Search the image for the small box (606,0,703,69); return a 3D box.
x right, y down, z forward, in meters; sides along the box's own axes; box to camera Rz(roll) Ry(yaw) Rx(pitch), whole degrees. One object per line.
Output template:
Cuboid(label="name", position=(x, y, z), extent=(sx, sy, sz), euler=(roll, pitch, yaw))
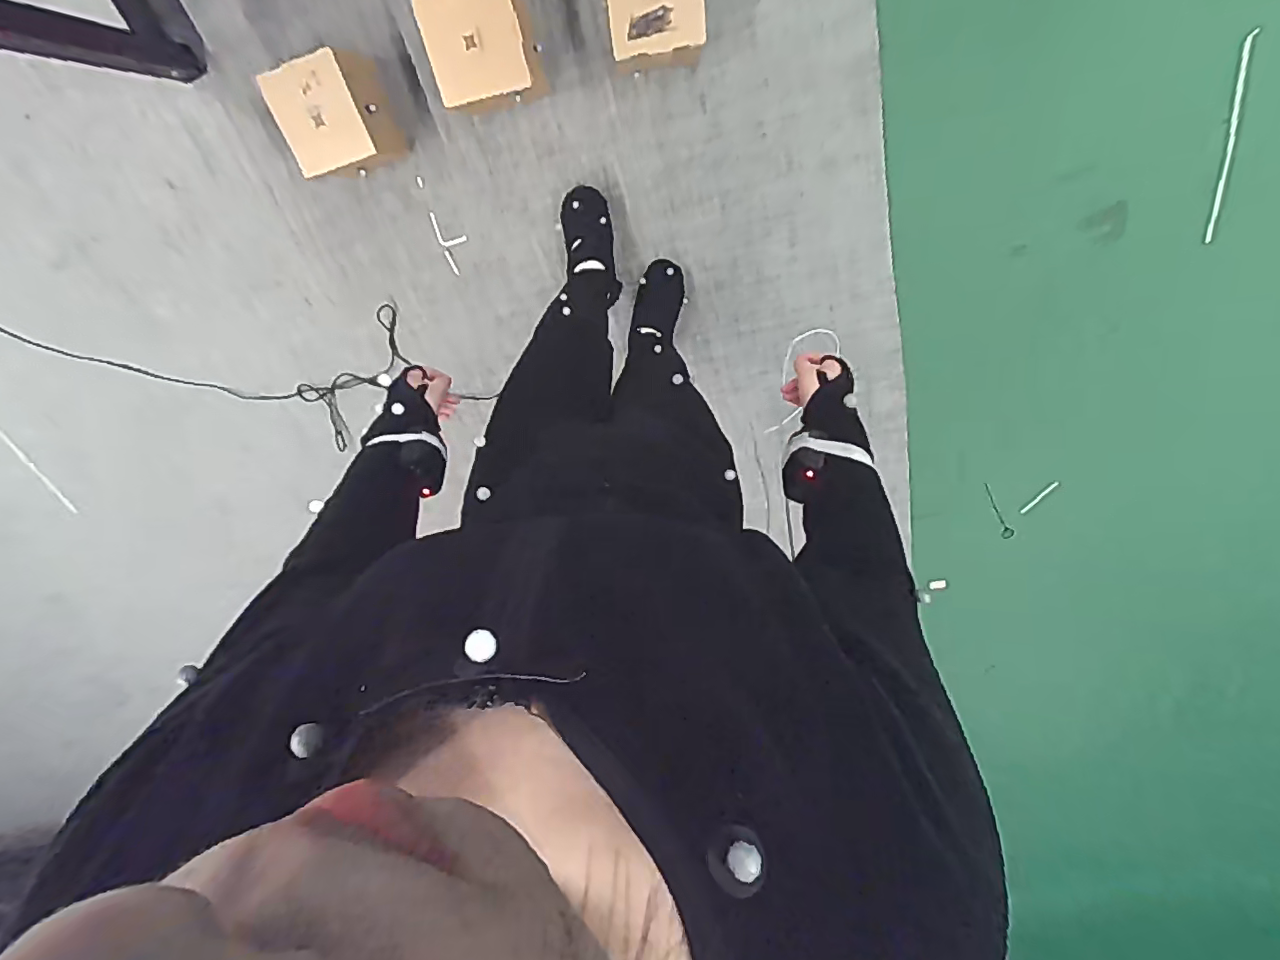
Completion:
Cuboid(label="small box", position=(0.028, -0.866, 0.975), extent=(0.168, 0.176, 0.179), euler=(-5, 119, 6))
